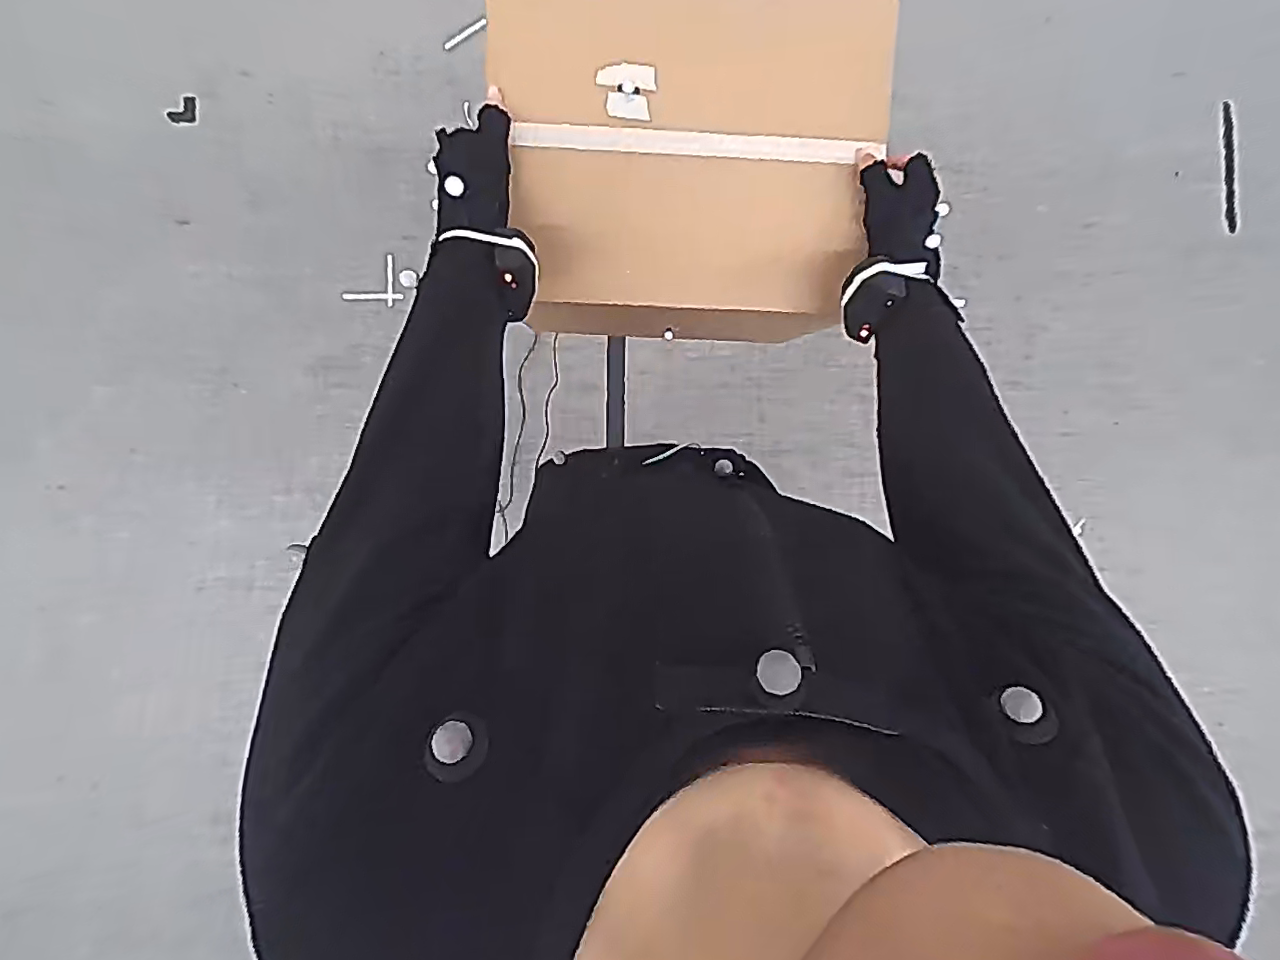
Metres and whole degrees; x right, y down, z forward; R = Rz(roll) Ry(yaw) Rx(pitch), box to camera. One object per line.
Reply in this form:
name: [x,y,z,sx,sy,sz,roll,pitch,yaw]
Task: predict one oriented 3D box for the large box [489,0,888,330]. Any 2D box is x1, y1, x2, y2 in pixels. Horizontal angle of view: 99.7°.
large box: [0.044,-0.368,0.701,0.408,0.320,0.320,1,99,-3]
